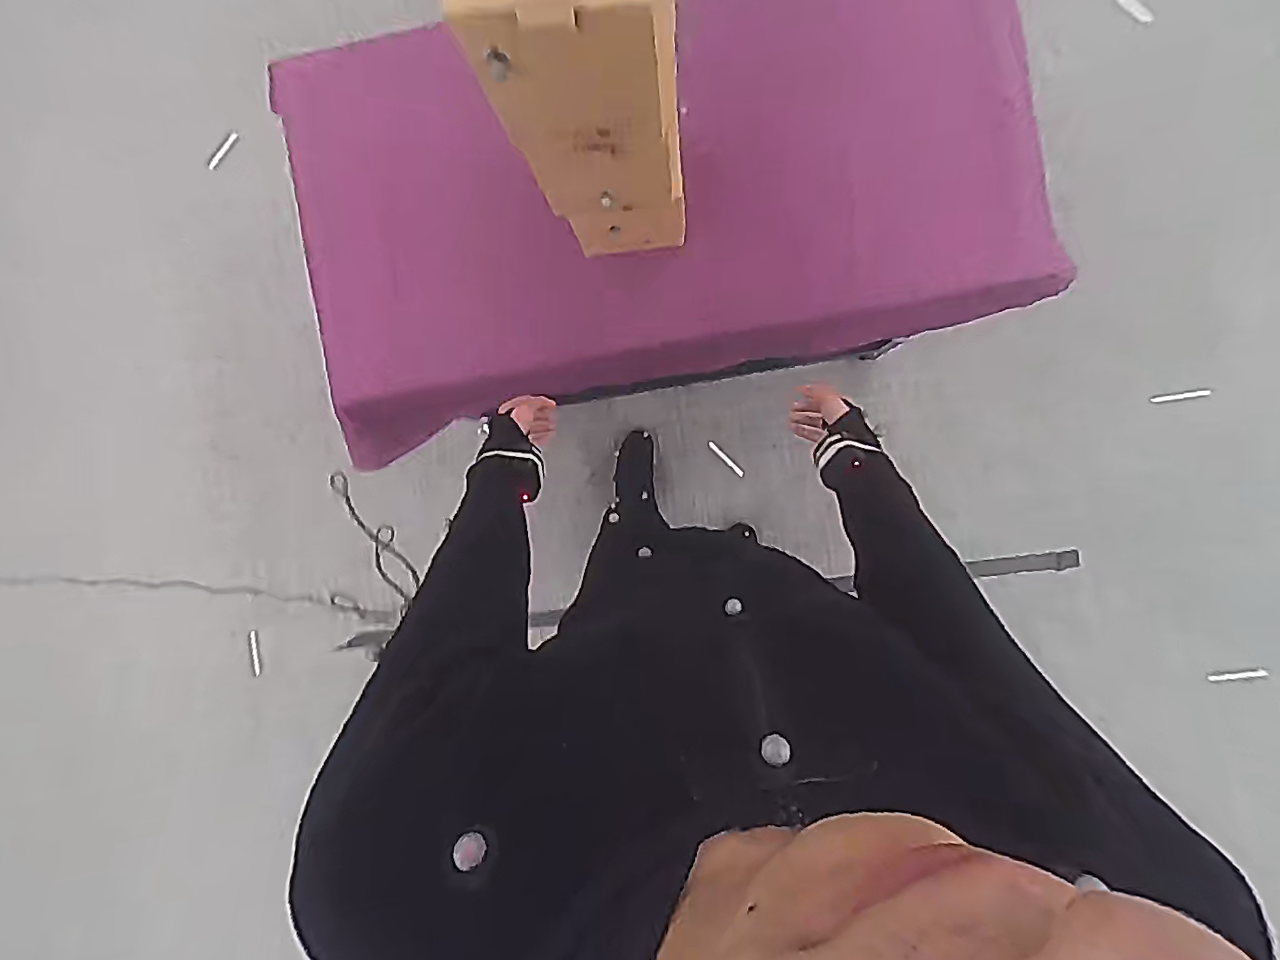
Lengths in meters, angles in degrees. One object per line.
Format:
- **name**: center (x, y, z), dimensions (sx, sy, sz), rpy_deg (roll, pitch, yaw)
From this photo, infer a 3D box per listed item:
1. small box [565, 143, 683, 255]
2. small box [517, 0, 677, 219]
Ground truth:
- **small box**: center (-0.024, -0.456, 0.814), dimensions (0.168, 0.176, 0.179), rpy_deg (-5, 90, 5)
- **small box**: center (-0.042, -0.441, 0.650), dimensions (0.168, 0.176, 0.179), rpy_deg (2, 91, 5)
